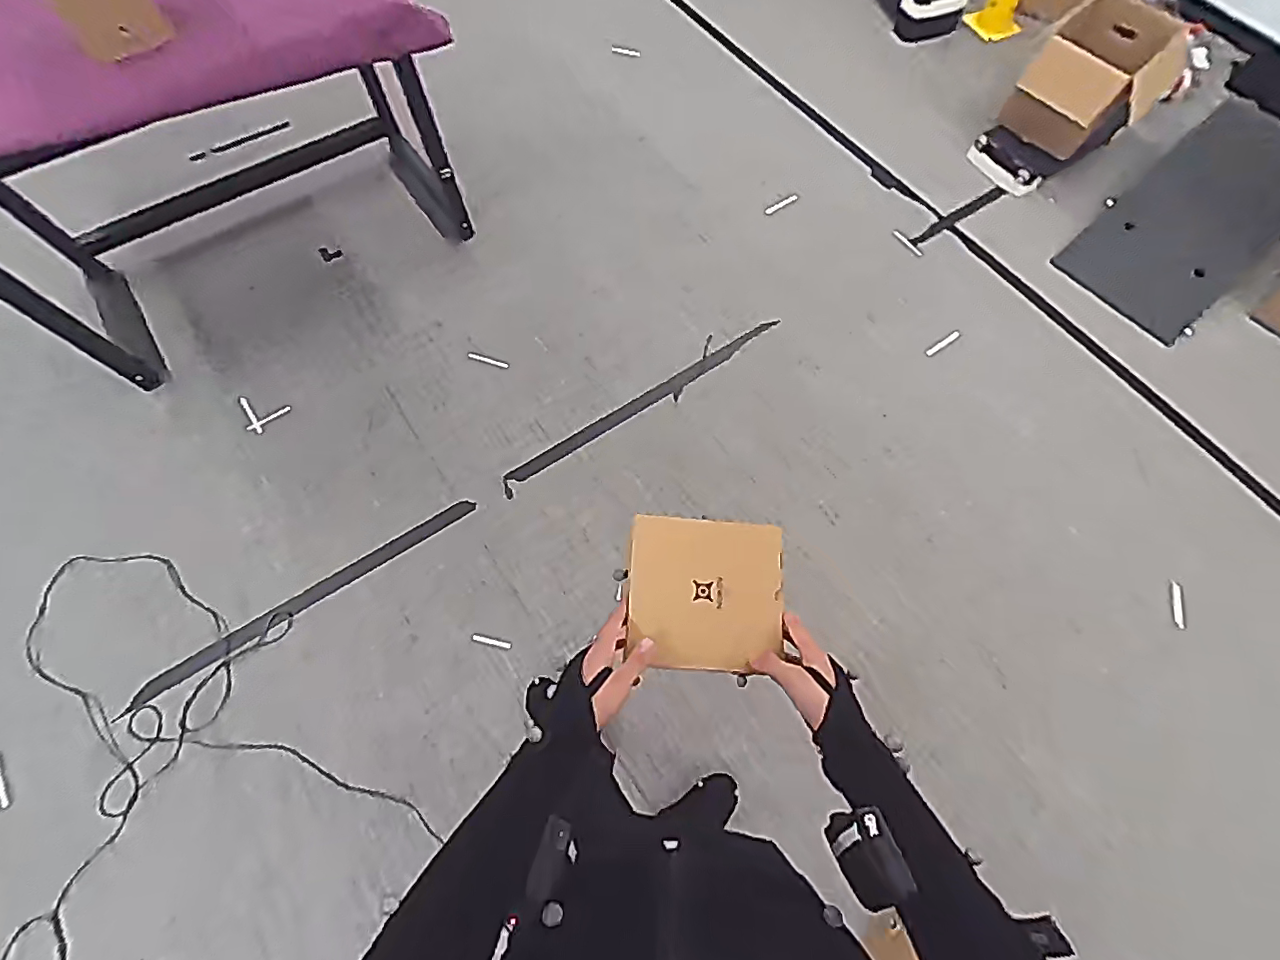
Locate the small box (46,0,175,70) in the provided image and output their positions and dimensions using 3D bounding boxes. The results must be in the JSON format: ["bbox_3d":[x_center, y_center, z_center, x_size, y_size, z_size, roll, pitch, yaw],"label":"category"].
[{"bbox_3d":[-1.166,-1.043,1.172,0.179,0.176,0.168,-35,71,-15],"label":"small box"}]

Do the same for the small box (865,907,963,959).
[{"bbox_3d":[0.625,1.077,1.157,0.168,0.176,0.179,-36,73,-15],"label":"small box"}]

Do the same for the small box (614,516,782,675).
[{"bbox_3d":[0.061,0.150,0.668,0.179,0.176,0.168,5,72,-5],"label":"small box"}]
